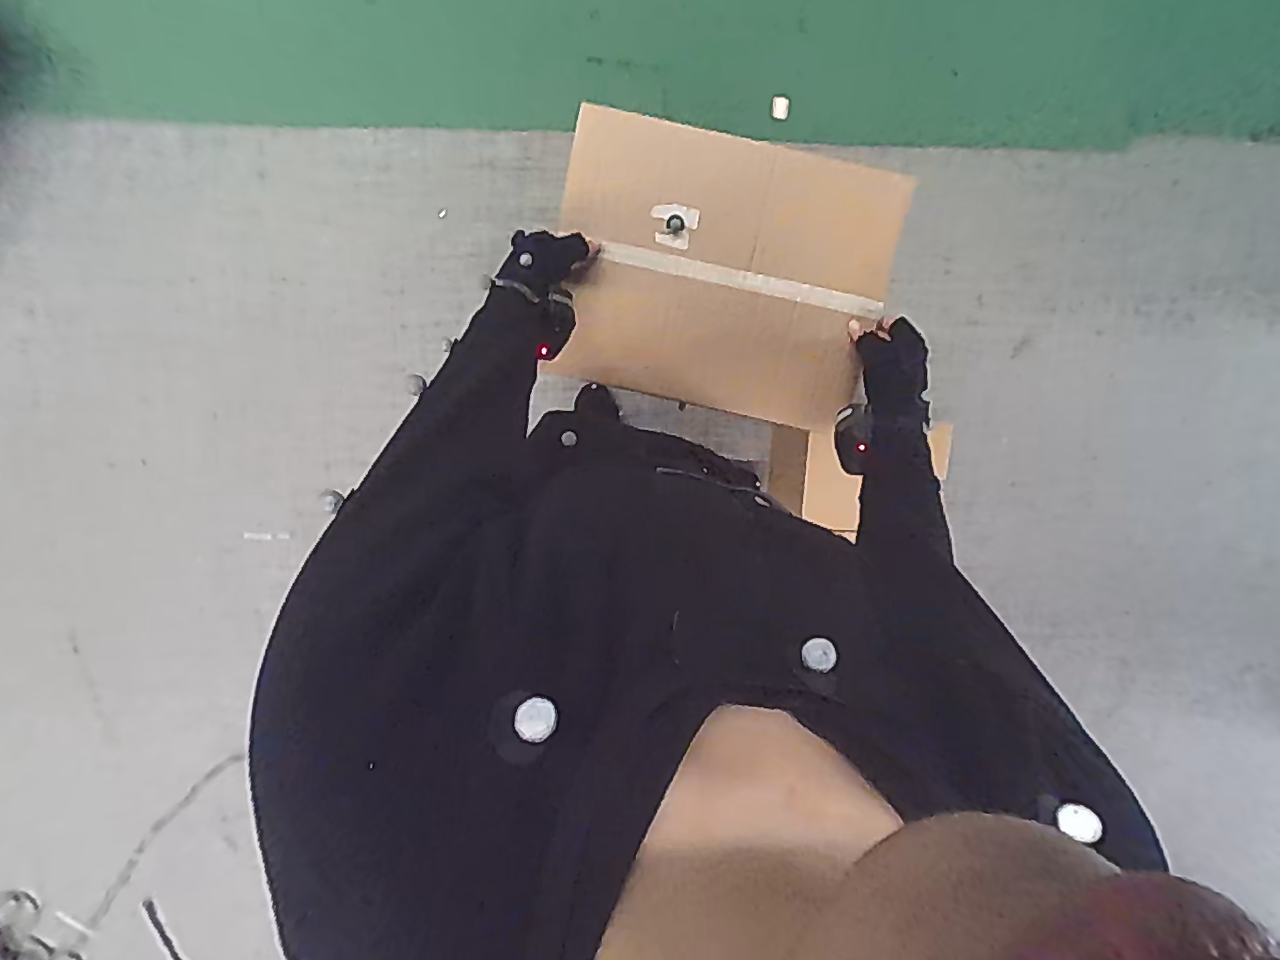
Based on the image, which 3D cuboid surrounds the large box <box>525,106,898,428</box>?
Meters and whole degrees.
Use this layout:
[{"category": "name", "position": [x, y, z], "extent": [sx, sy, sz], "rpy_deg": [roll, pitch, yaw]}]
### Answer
[{"category": "large box", "position": [0.085, -0.279, 0.799], "extent": [0.408, 0.320, 0.320], "rpy_deg": [12, 101, 0]}]
